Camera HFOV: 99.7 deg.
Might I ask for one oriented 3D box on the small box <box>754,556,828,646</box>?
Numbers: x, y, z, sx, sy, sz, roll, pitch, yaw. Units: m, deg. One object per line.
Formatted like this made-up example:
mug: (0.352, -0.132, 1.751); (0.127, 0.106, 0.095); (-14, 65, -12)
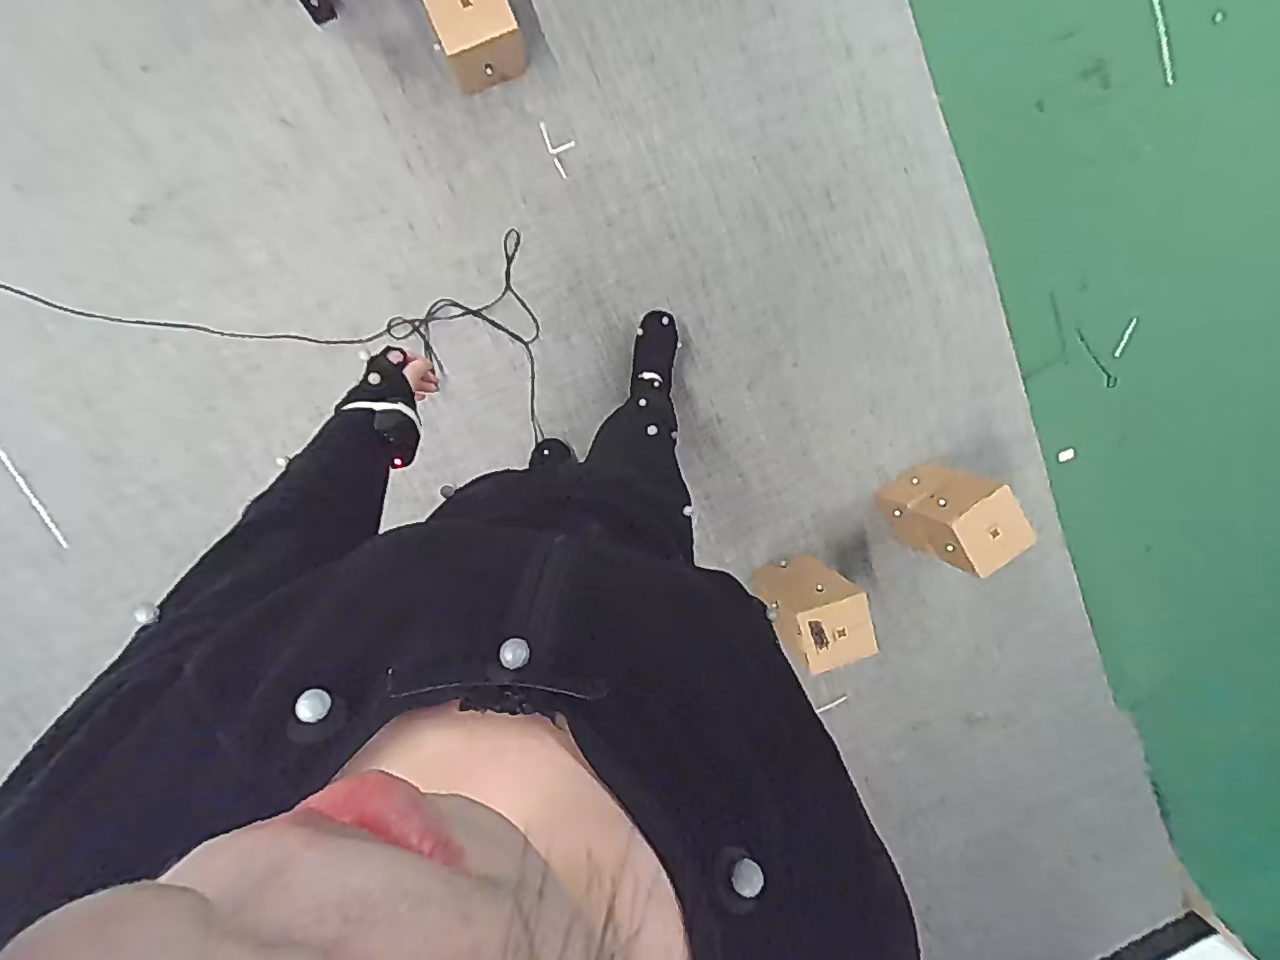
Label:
small box: (0.432, 0.332, 1.511); (0.179, 0.176, 0.168); (-17, 101, -3)

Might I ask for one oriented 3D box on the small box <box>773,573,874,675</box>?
small box: (0.447, 0.351, 1.347); (0.179, 0.176, 0.168); (-17, 101, -5)

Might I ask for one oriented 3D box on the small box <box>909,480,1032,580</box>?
small box: (0.816, 0.115, 1.353); (0.168, 0.176, 0.179); (-34, 102, 0)
